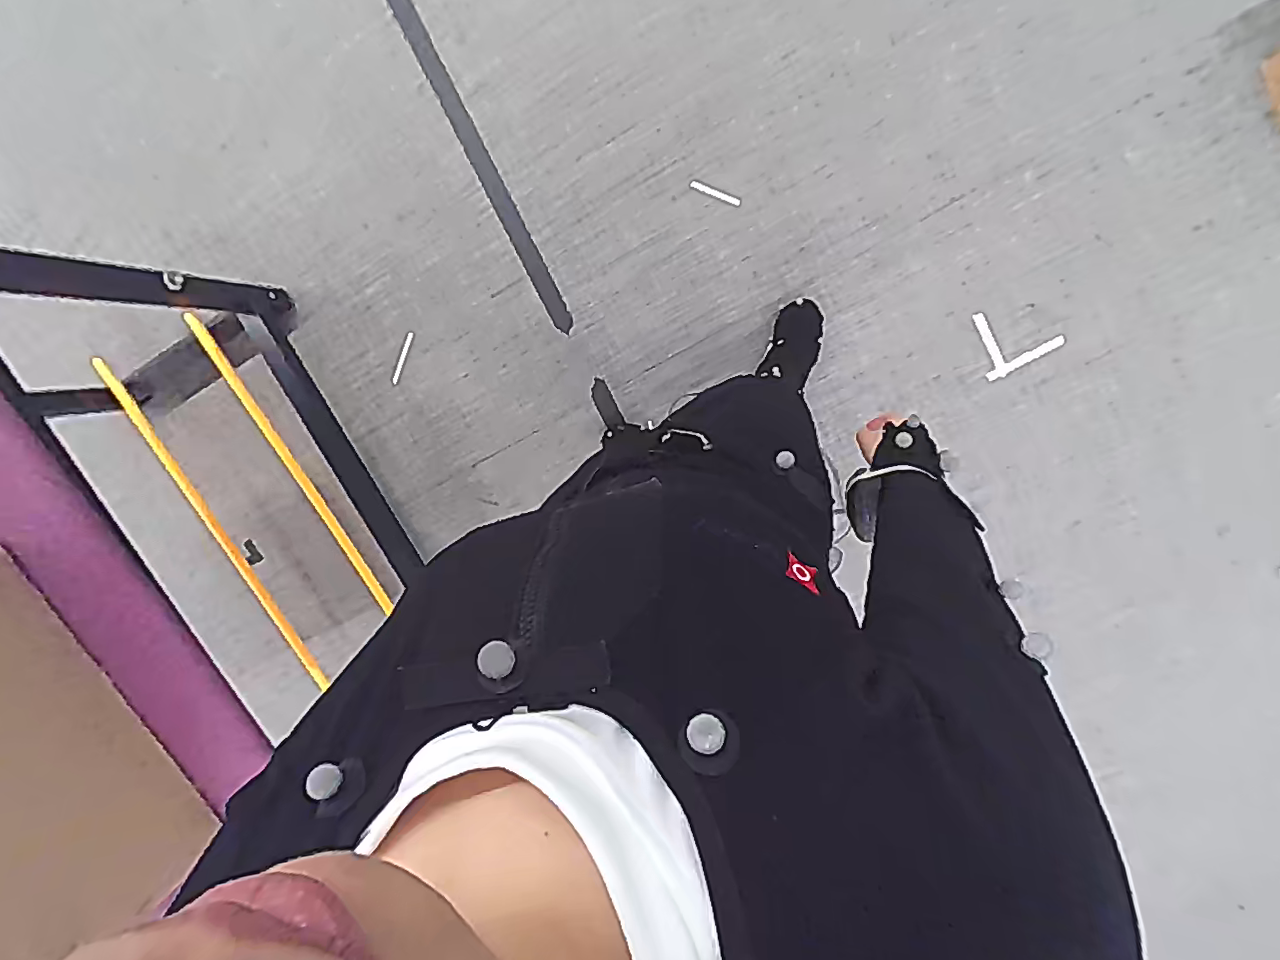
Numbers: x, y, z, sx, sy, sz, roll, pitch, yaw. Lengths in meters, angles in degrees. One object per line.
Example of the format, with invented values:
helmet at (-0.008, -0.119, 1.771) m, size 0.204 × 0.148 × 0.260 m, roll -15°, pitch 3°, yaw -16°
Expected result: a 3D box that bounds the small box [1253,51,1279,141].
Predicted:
small box at (1.326, -0.778, 0.999) m, size 0.179 × 0.176 × 0.168 m, roll -29°, pitch 99°, yaw 12°
